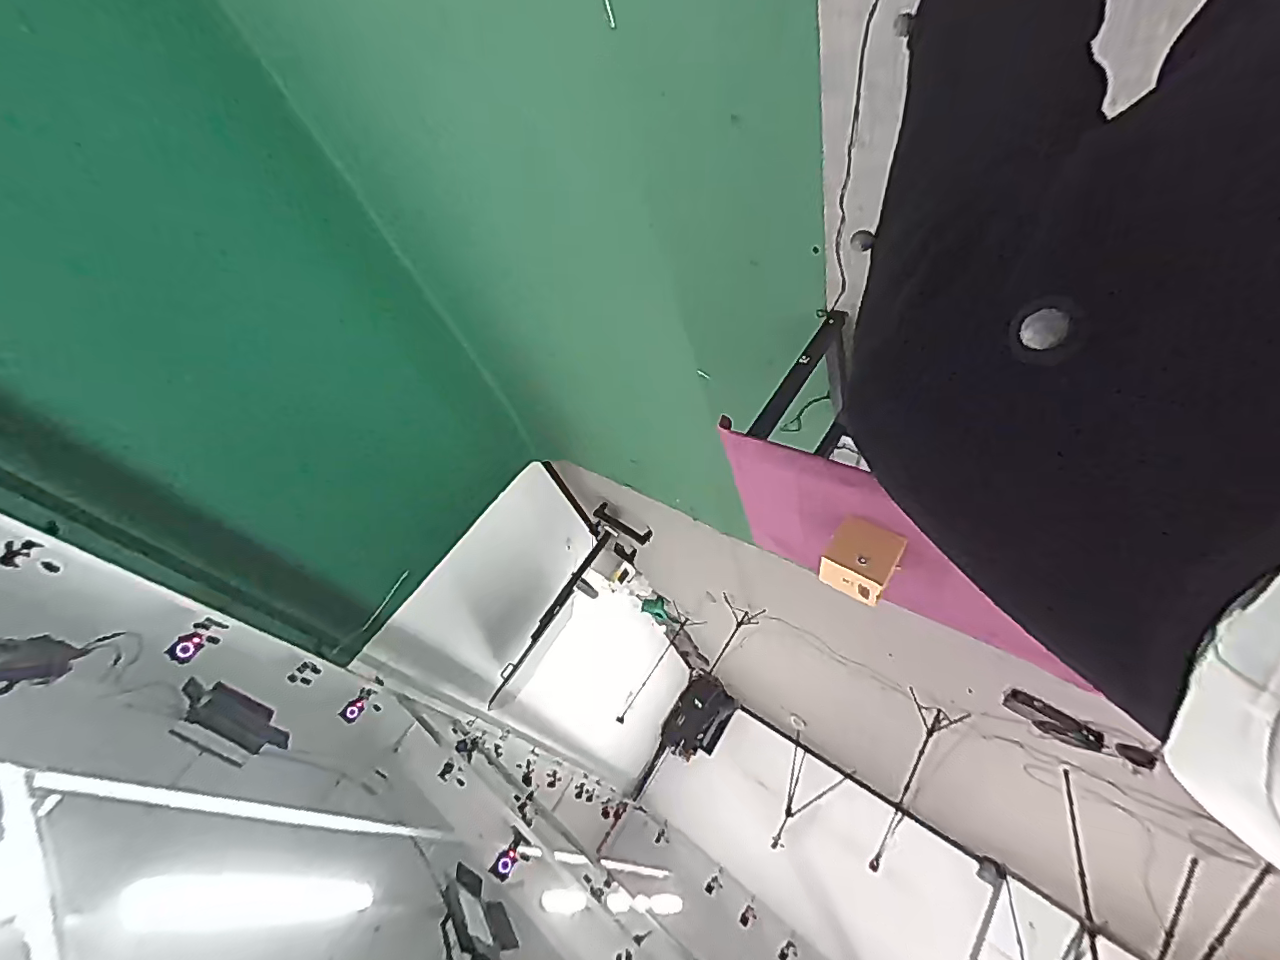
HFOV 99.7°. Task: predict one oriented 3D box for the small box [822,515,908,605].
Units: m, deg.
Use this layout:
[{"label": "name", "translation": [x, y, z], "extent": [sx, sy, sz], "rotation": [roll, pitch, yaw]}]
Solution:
[{"label": "small box", "translation": [0.657, 0.229, 1.583], "extent": [0.179, 0.176, 0.168], "rotation": [27, 157, 28]}]
